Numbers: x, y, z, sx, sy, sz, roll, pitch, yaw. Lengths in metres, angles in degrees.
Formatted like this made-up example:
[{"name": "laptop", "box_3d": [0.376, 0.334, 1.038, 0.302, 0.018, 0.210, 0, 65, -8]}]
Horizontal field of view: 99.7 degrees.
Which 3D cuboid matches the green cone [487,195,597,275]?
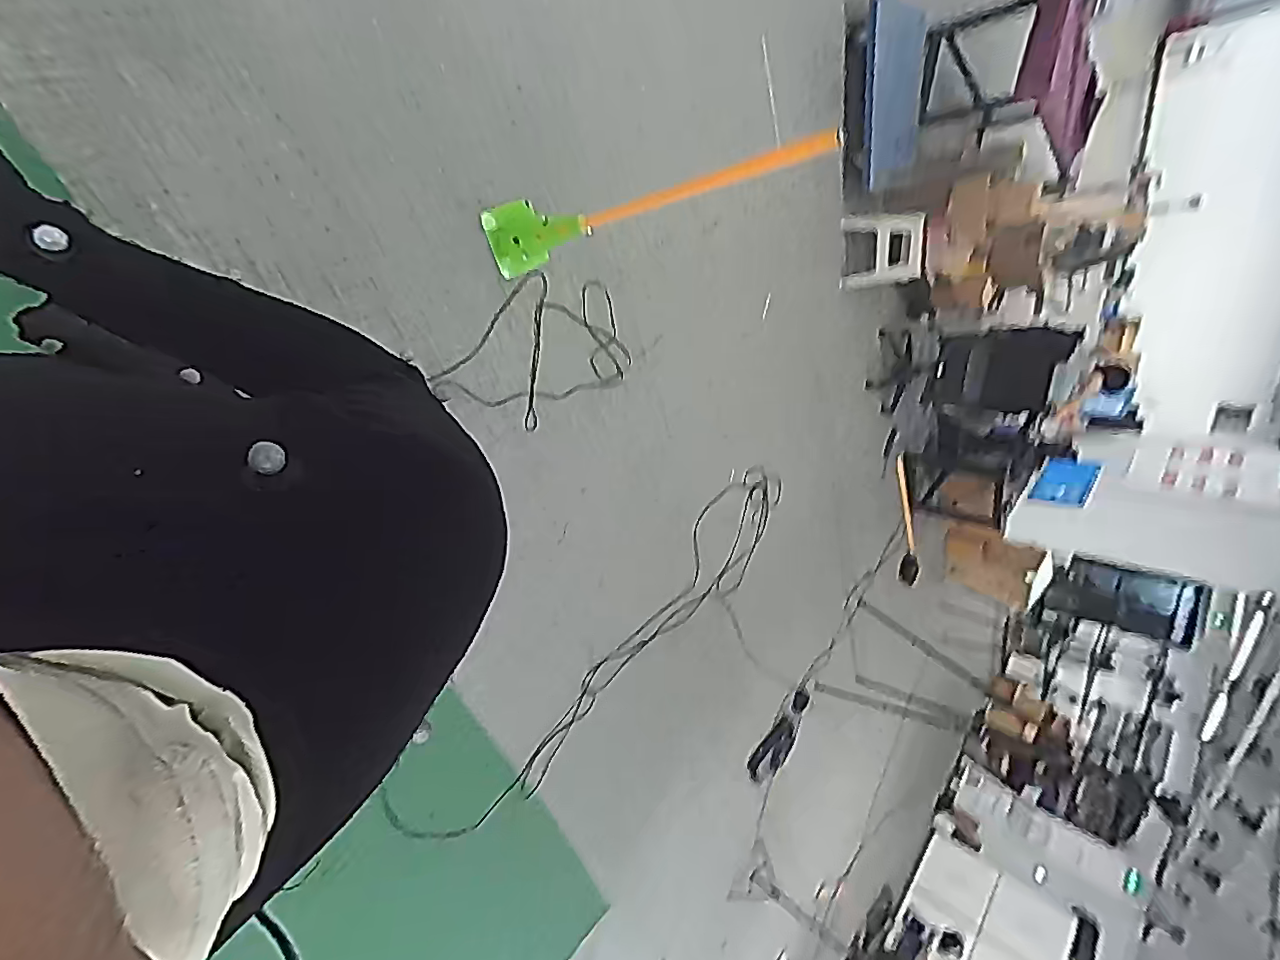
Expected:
[{"name": "green cone", "box_3d": [-0.261, -0.750, 1.614, 0.200, 0.368, 0.202, -39, 127, -30]}]
